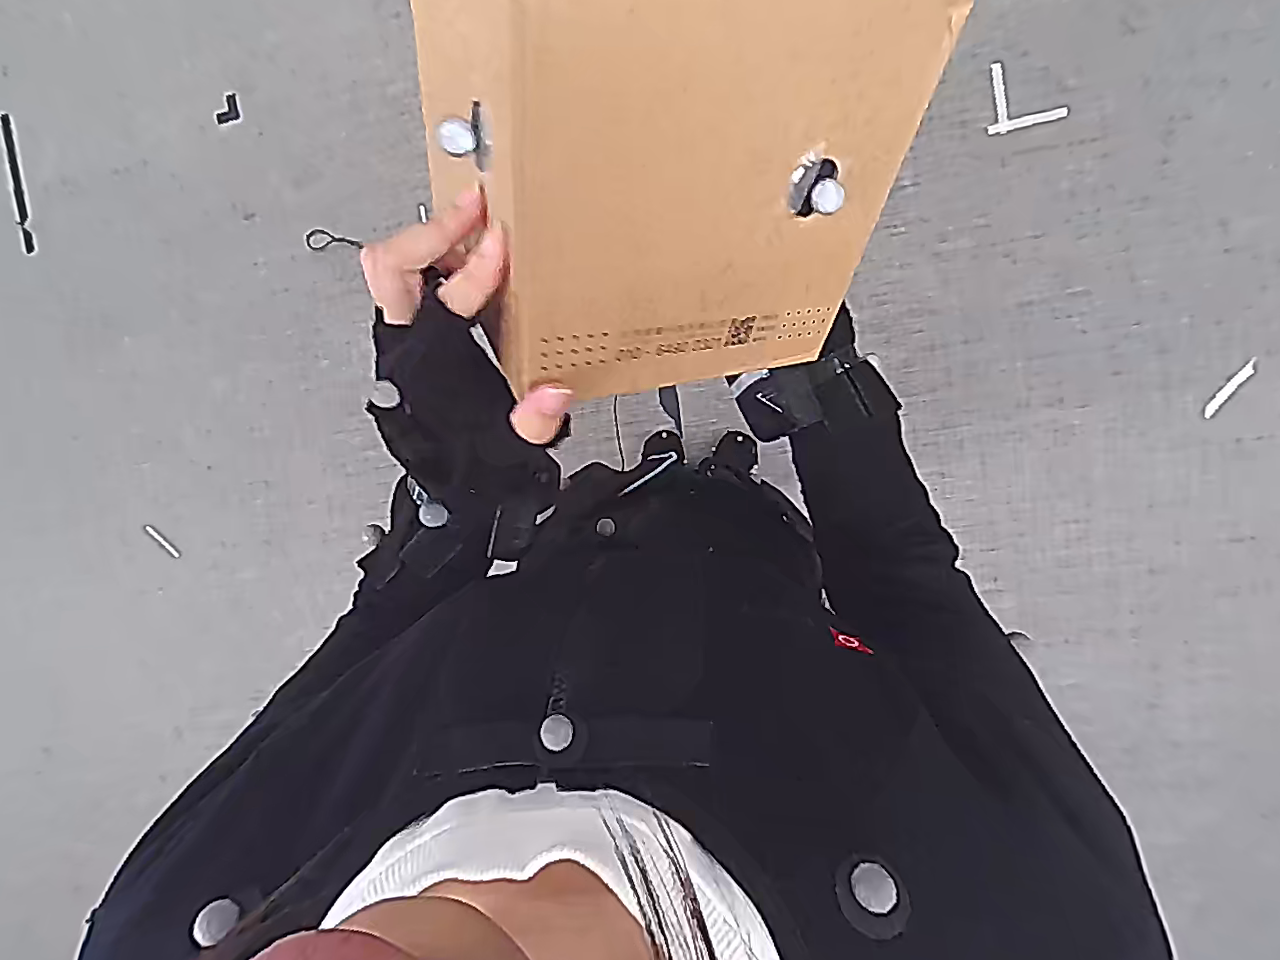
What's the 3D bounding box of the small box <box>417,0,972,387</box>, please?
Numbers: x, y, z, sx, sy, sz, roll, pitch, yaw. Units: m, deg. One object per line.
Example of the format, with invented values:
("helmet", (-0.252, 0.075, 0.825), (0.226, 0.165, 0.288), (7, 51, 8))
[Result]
("small box", (0.000, -0.159, 0.261), (0.168, 0.176, 0.179), (-14, 50, -25))
